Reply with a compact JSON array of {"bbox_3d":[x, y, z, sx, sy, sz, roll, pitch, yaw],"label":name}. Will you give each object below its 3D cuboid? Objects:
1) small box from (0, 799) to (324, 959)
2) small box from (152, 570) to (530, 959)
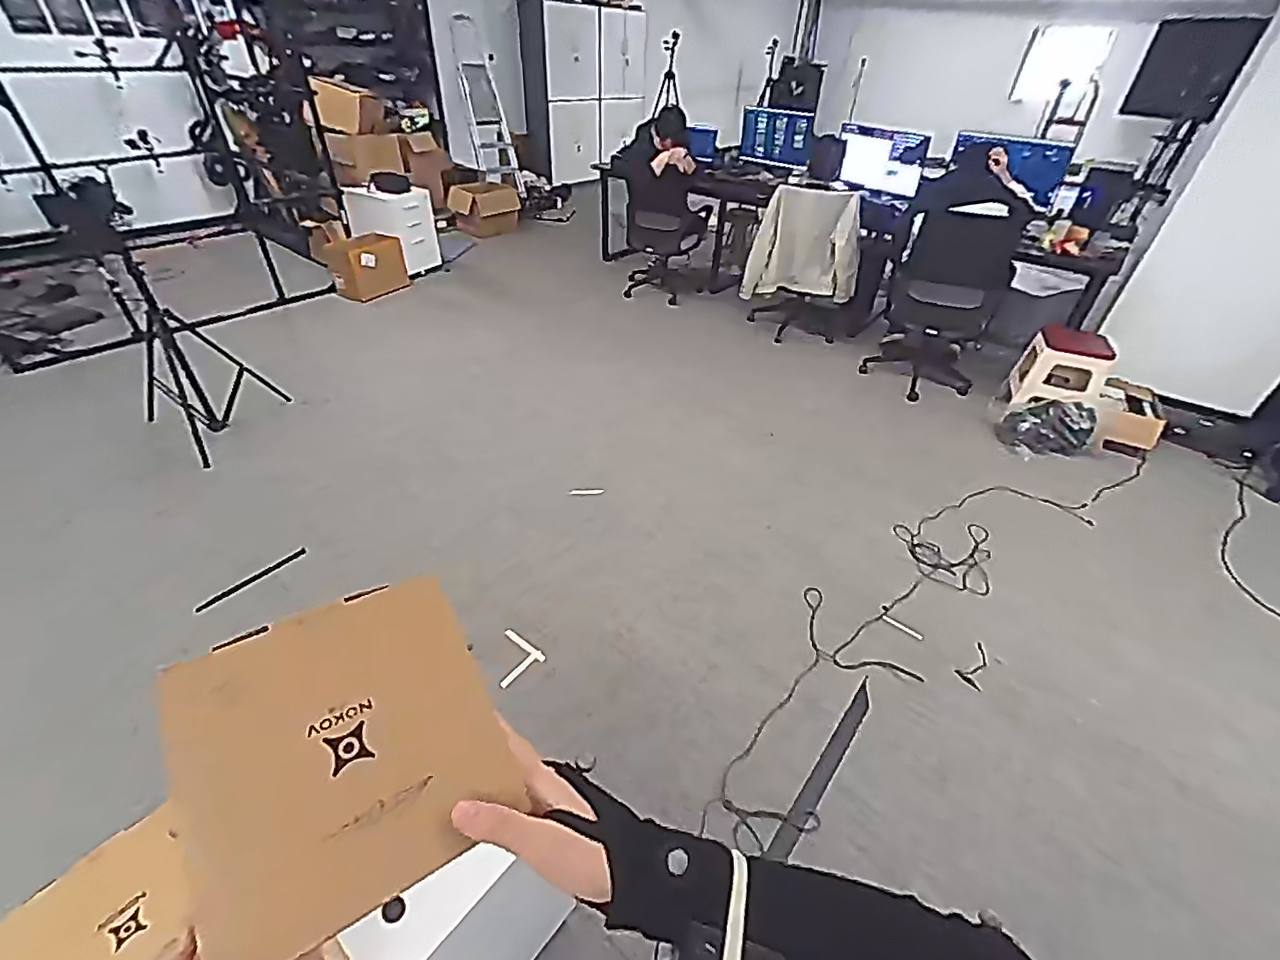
[{"bbox_3d":[-0.442,0.445,0.517,0.179,0.176,0.168,28,45,29],"label":"small box"},{"bbox_3d":[-0.197,0.196,0.382,0.168,0.176,0.179,-19,67,-29],"label":"small box"}]
